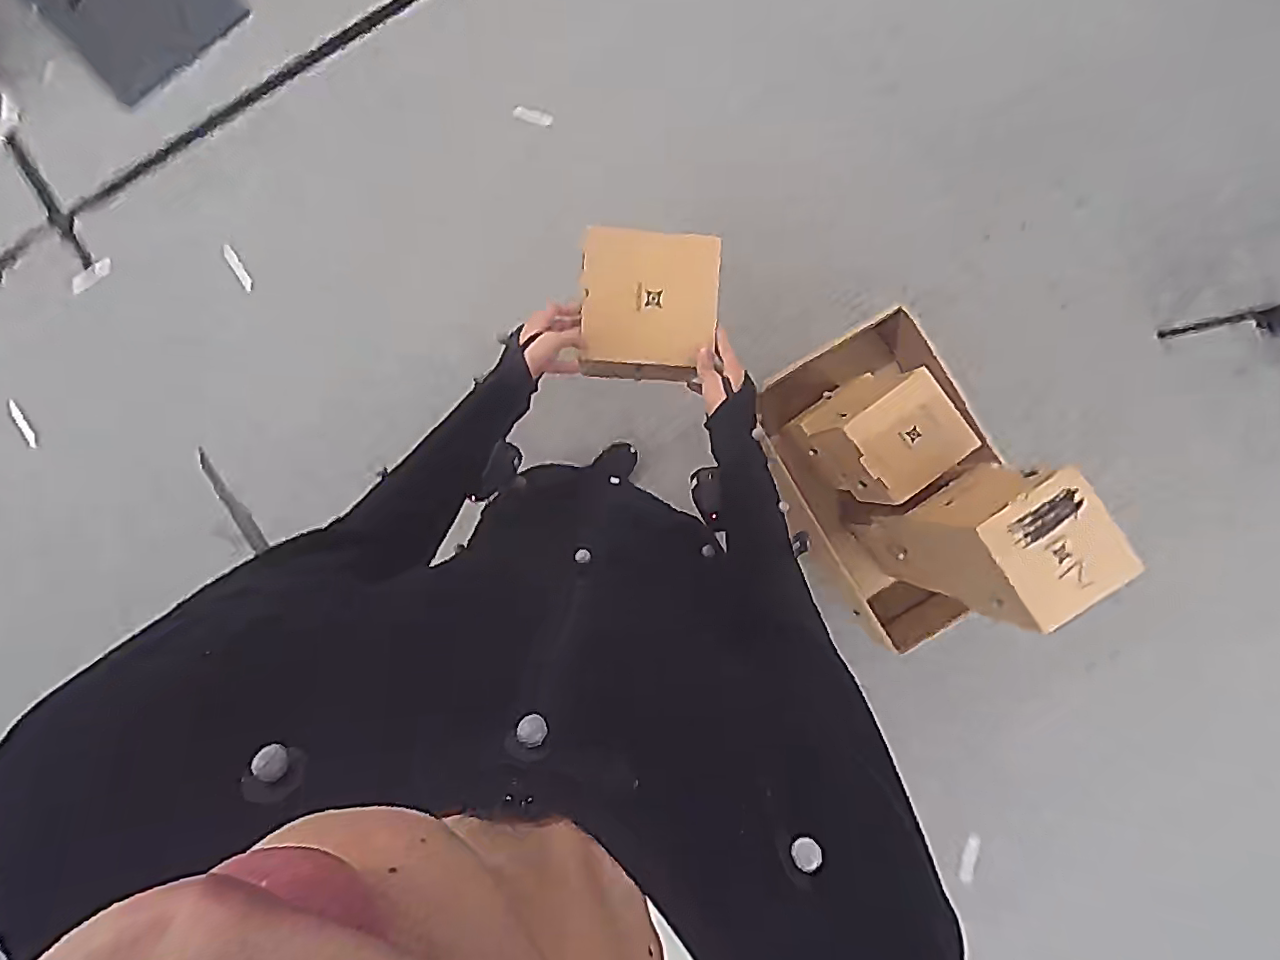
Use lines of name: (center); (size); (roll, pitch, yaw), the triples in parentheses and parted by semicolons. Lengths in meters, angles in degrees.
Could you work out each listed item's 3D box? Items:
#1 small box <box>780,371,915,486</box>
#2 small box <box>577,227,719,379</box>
small box: (0.427, -0.102, 1.144); (0.179, 0.176, 0.168); (-36, 90, -1)
small box: (0.004, -0.235, 0.759); (0.179, 0.176, 0.168); (2, 94, -4)
